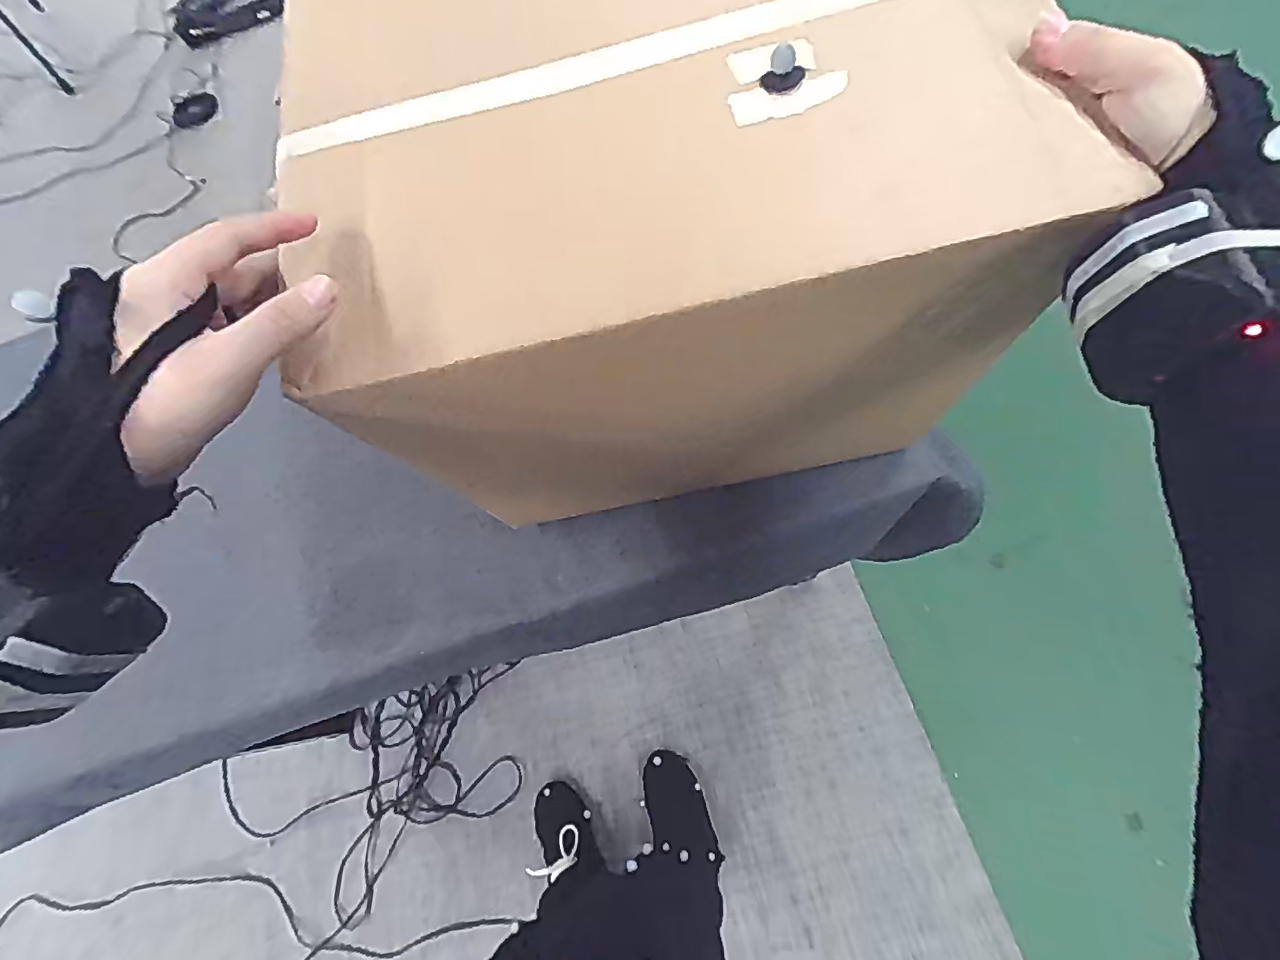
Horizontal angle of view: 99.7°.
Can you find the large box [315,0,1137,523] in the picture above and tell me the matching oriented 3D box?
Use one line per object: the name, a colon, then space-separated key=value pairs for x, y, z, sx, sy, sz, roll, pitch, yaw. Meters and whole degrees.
large box: x=0.023 y=-0.182 z=0.443 sx=0.408 sy=0.320 sz=0.320 roll=-12 pitch=73 yaw=3
